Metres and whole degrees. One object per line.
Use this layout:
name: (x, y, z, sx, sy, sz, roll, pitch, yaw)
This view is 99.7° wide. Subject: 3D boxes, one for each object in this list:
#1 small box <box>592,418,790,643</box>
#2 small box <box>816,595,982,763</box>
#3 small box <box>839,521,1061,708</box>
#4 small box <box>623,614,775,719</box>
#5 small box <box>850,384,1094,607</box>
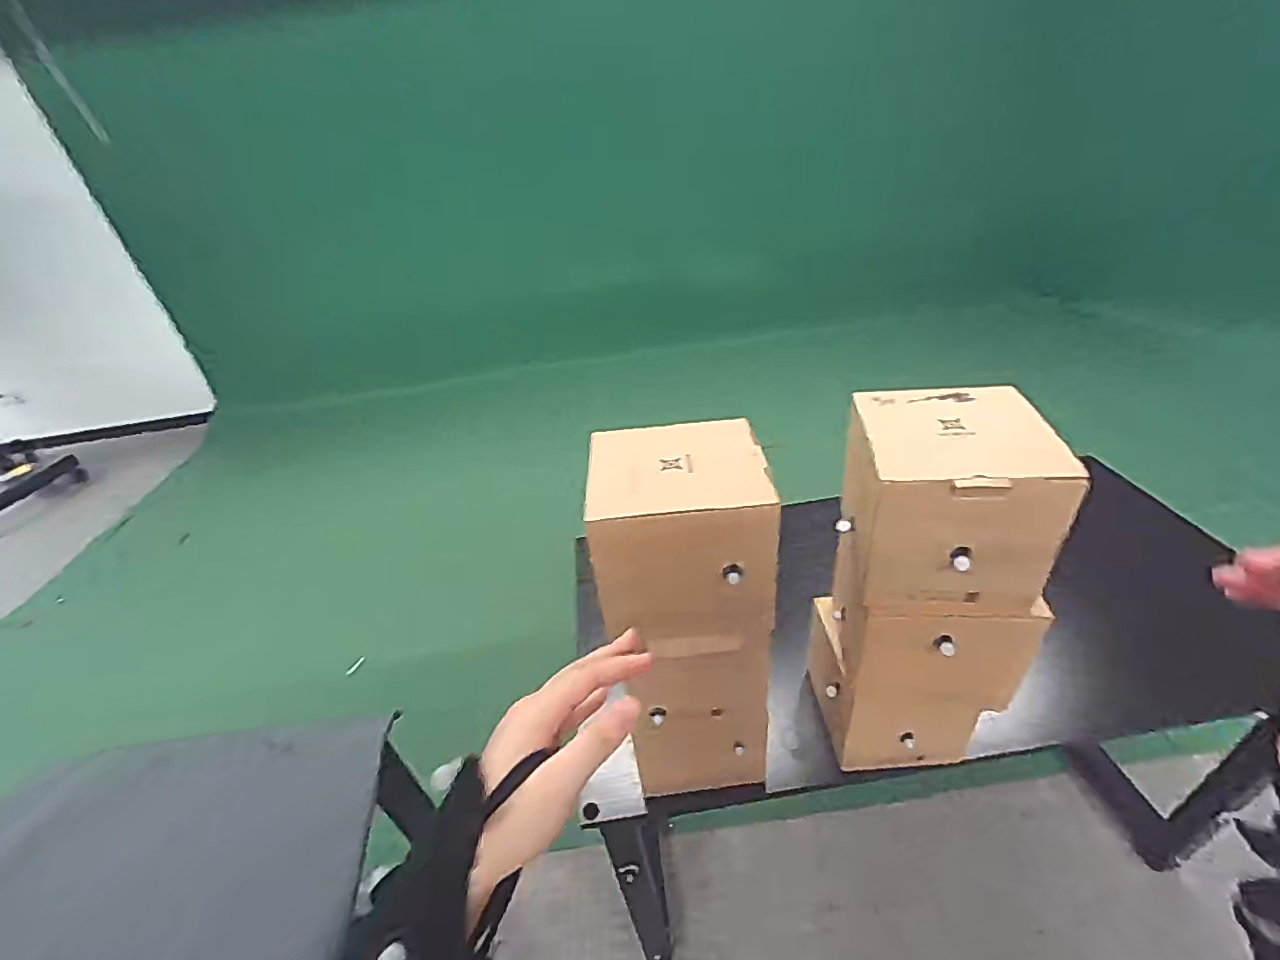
small box: (0.051, 0.053, 0.581, 0.179, 0.176, 0.168, -7, 33, 3)
small box: (0.357, 0.279, 0.765, 0.168, 0.176, 0.179, -6, 35, 3)
small box: (0.351, 0.156, 0.656, 0.179, 0.176, 0.168, -2, 36, 10)
small box: (0.070, 0.180, 0.680, 0.168, 0.176, 0.179, -6, 34, 2)
small box: (0.325, 0.017, 0.575, 0.168, 0.176, 0.179, -1, 37, 13)
